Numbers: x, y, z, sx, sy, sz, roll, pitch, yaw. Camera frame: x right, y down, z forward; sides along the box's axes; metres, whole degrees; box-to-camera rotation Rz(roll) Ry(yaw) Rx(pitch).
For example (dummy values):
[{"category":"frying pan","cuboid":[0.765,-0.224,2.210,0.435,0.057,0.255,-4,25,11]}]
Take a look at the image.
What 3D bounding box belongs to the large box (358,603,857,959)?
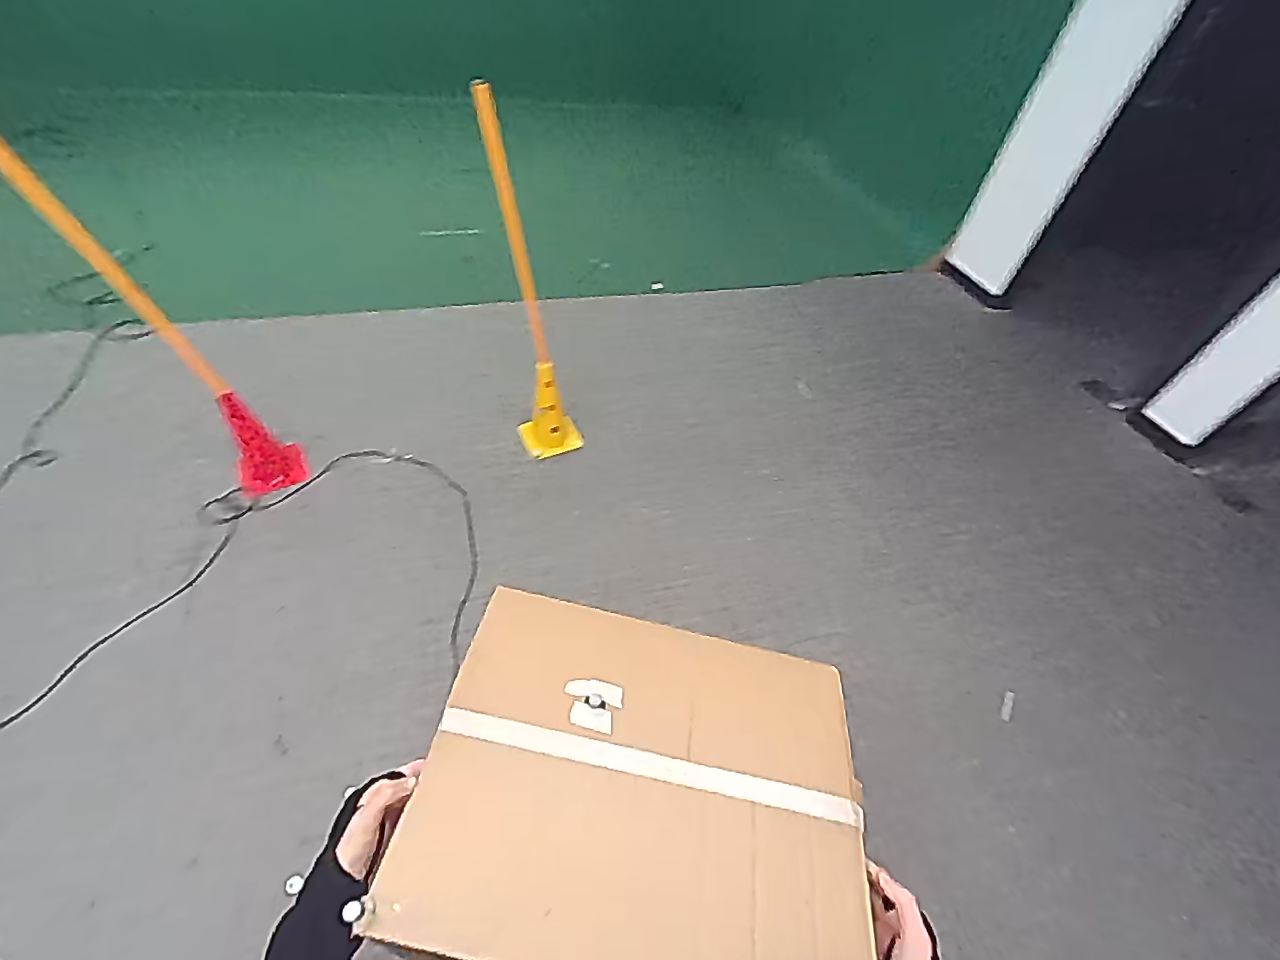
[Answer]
[{"category":"large box","cuboid":[-0.024,0.387,0.621,0.408,0.320,0.320,12,43,-1]}]
